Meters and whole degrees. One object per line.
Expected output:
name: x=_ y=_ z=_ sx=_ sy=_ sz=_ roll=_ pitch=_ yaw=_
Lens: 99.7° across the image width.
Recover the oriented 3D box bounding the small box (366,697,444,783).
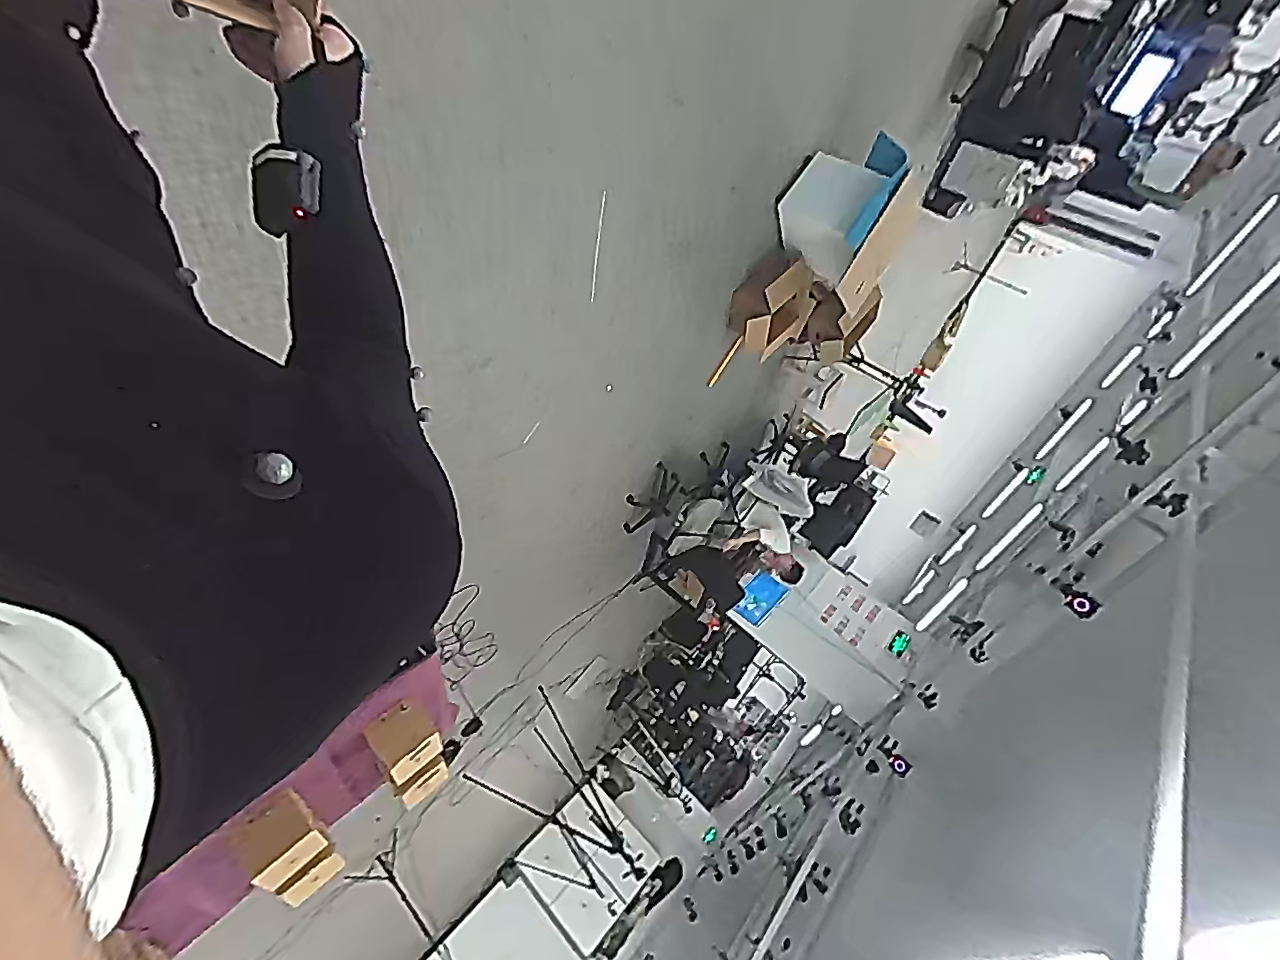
small box: x=-0.771 y=0.847 z=1.775 sx=0.168 sy=0.176 sz=0.179 roll=-33 pitch=152 yaw=-36

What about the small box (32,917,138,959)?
small box: x=-1.298 y=1.164 z=1.250 sx=0.168 sy=0.176 sz=0.179 roll=-33 pitch=153 yaw=-41

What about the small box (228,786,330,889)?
small box: x=-1.029 y=1.018 z=1.547 sx=0.168 sy=0.176 sz=0.179 roll=-35 pitch=152 yaw=-37

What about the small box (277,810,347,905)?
small box: x=-1.074 y=1.201 z=1.727 sx=0.168 sy=0.176 sz=0.179 roll=-32 pitch=148 yaw=-38

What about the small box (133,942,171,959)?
small box: x=-1.367 y=1.396 z=1.451 sx=0.168 sy=0.176 sz=0.179 roll=-34 pitch=150 yaw=-41
